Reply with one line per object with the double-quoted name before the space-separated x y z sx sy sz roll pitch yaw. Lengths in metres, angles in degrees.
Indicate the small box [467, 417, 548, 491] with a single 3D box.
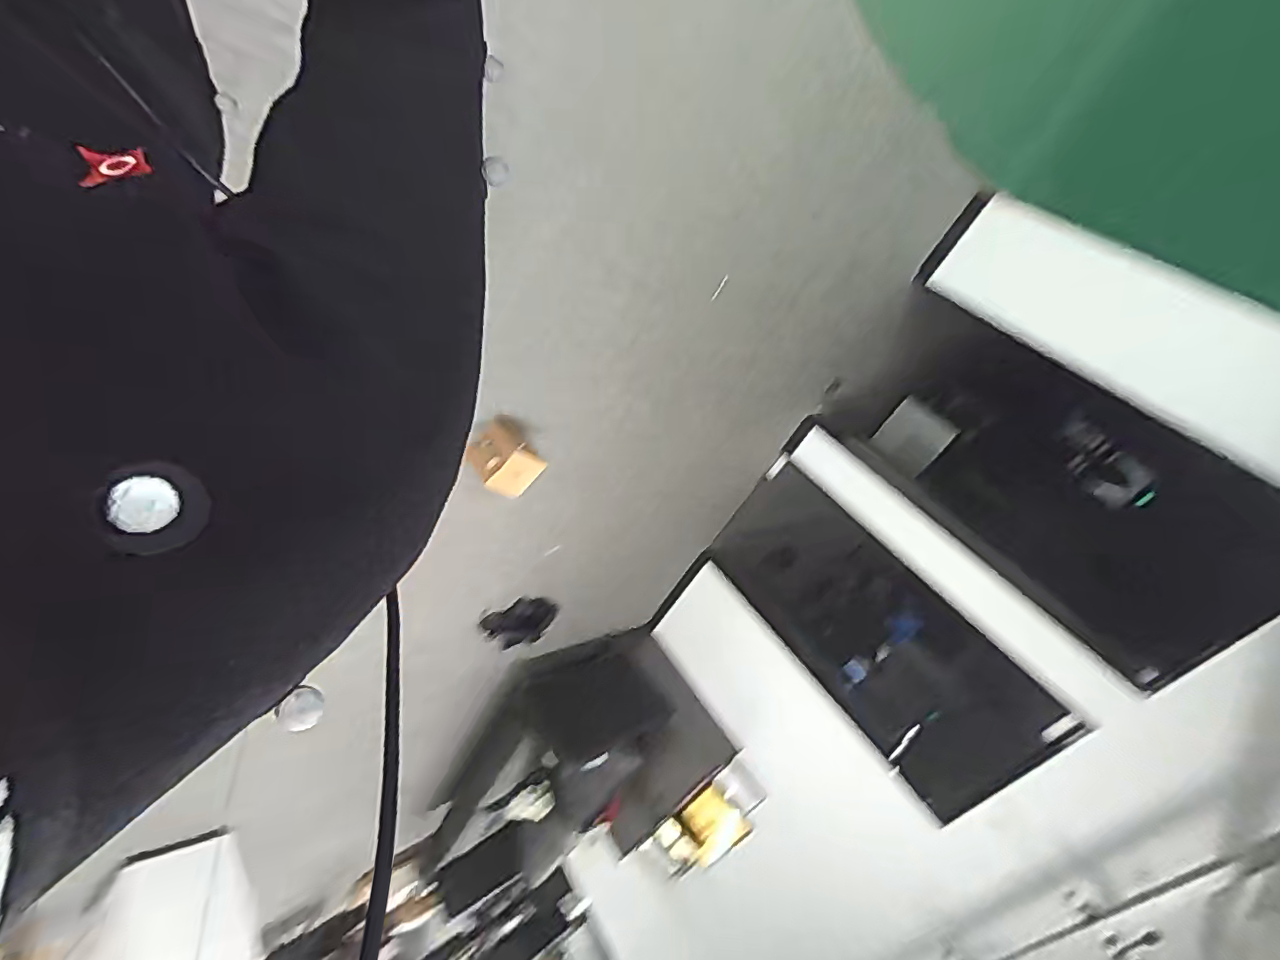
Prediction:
"small box" -0.457 -0.090 1.866 0.168 0.176 0.179 -46 150 10
